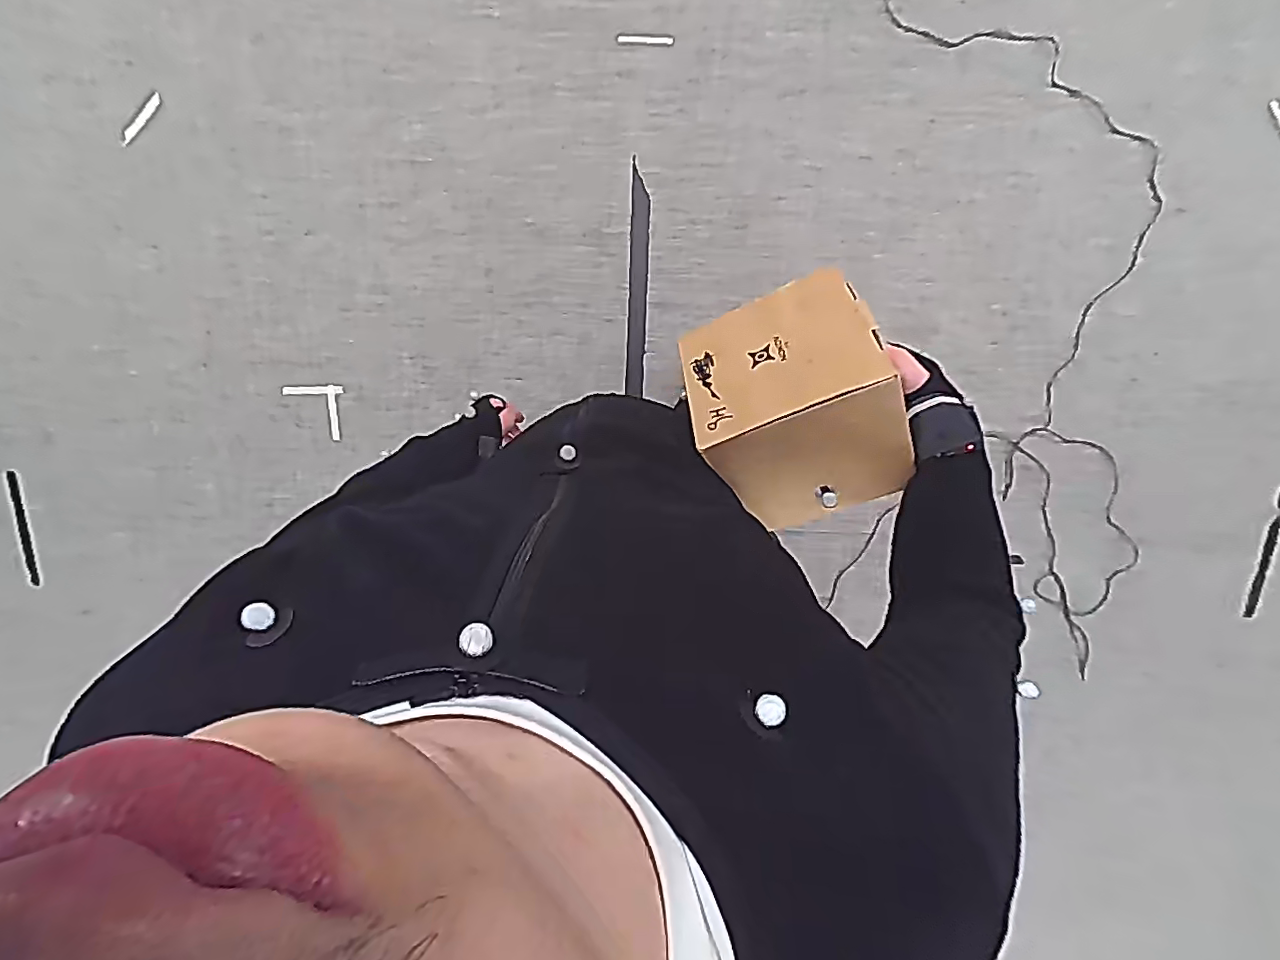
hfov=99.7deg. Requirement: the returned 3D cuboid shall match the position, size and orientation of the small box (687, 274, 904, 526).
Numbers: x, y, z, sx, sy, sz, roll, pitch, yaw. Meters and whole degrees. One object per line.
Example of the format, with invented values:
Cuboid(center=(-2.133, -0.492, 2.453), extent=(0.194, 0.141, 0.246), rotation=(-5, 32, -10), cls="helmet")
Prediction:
Cuboid(center=(0.168, -0.076, 0.581), extent=(0.179, 0.168, 0.176), rotation=(-20, 138, 19), cls="small box")
